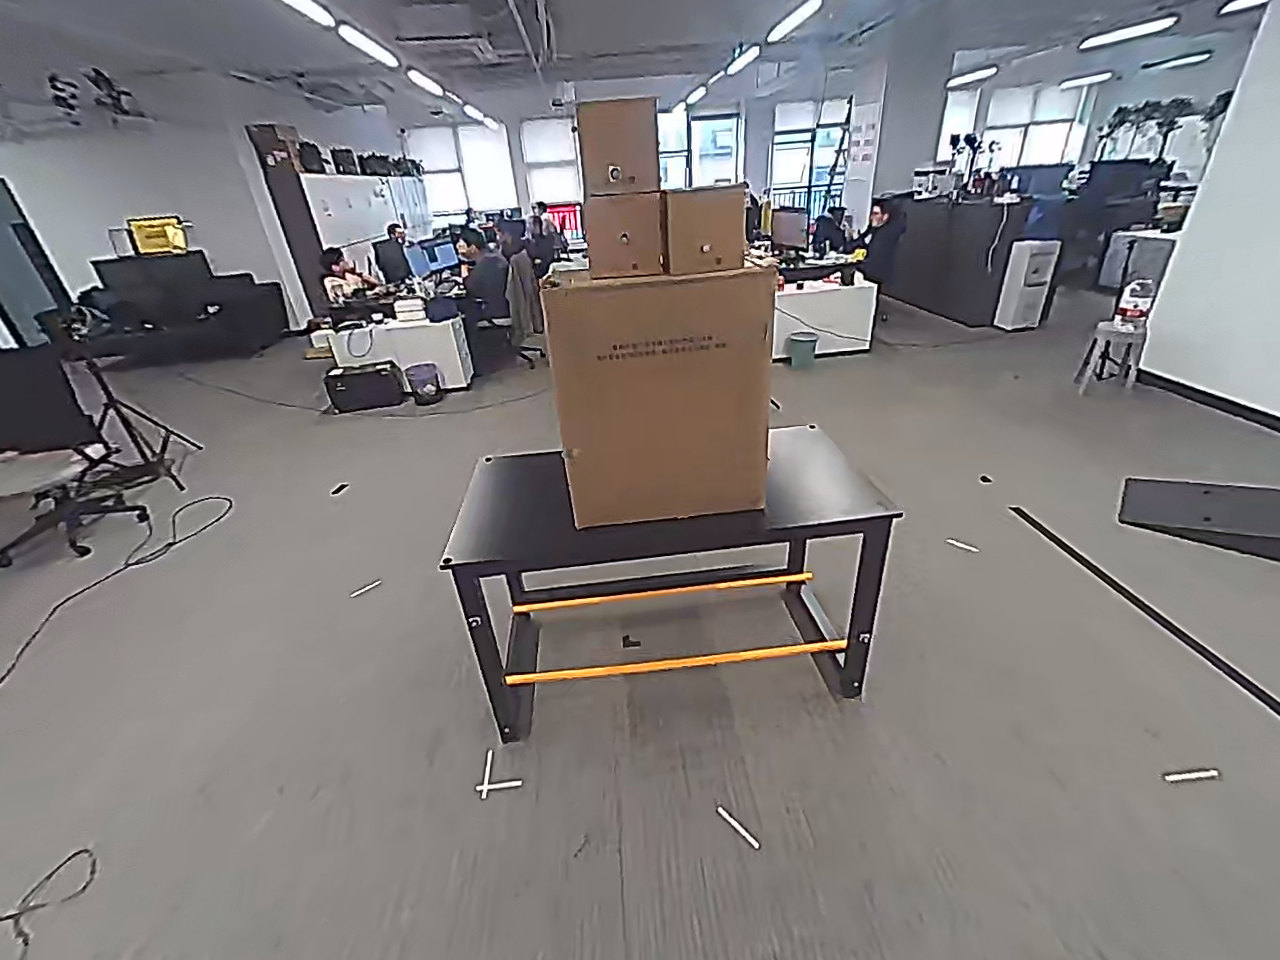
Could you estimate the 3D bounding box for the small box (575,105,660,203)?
[{"bbox_3d":[-0.049,-0.706,1.179,0.168,0.176,0.179,-6,31,-2],"label":"small box"}]
